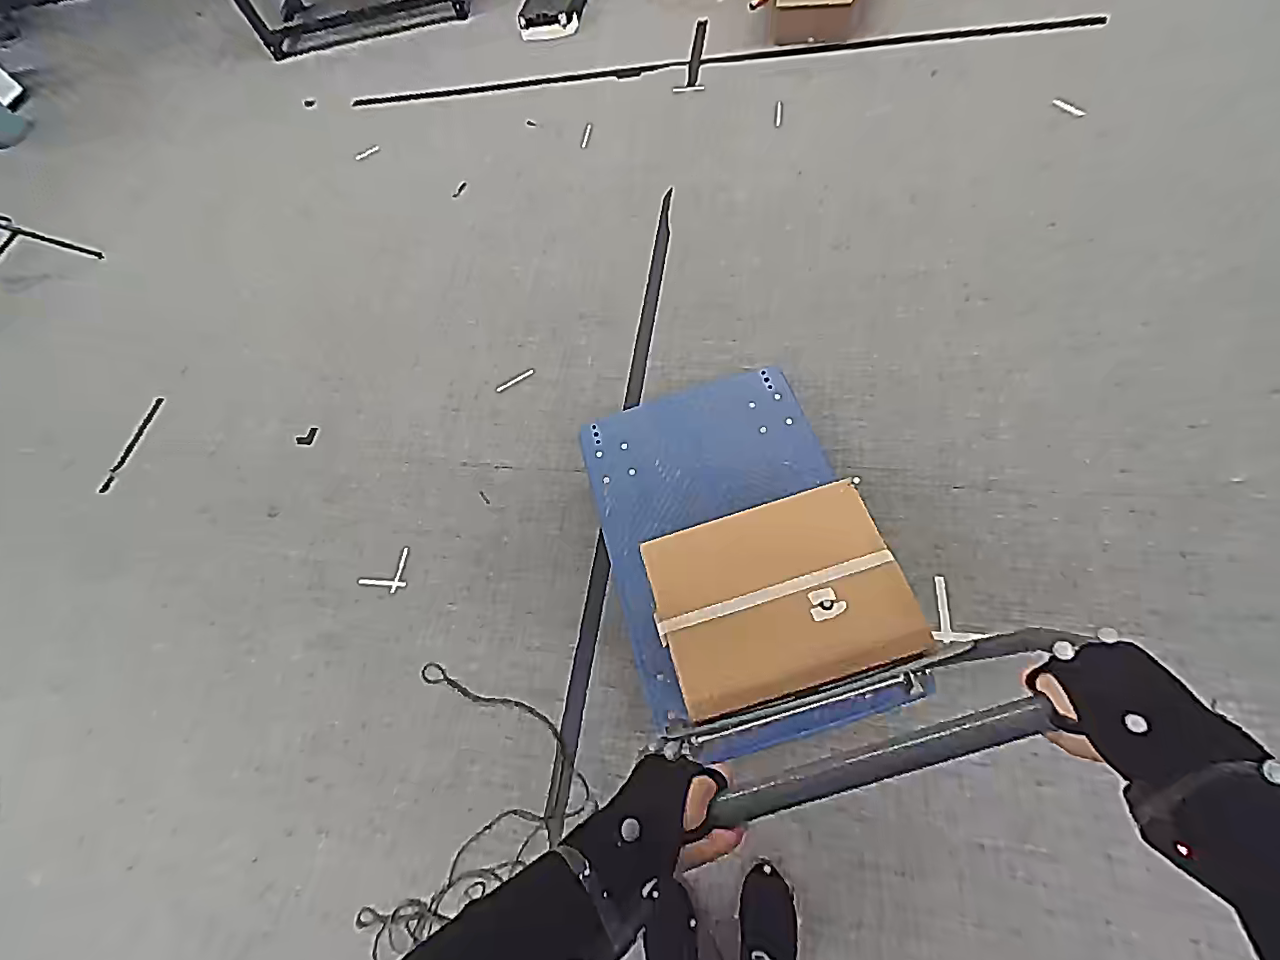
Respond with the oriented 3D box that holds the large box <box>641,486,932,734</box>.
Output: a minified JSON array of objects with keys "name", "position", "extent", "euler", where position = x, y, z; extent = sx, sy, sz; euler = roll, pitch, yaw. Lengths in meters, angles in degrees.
[{"name":"large box","position":[0.248,0.265,1.038],"extent":[0.408,0.320,0.320],"euler":[-18,63,0]}]
